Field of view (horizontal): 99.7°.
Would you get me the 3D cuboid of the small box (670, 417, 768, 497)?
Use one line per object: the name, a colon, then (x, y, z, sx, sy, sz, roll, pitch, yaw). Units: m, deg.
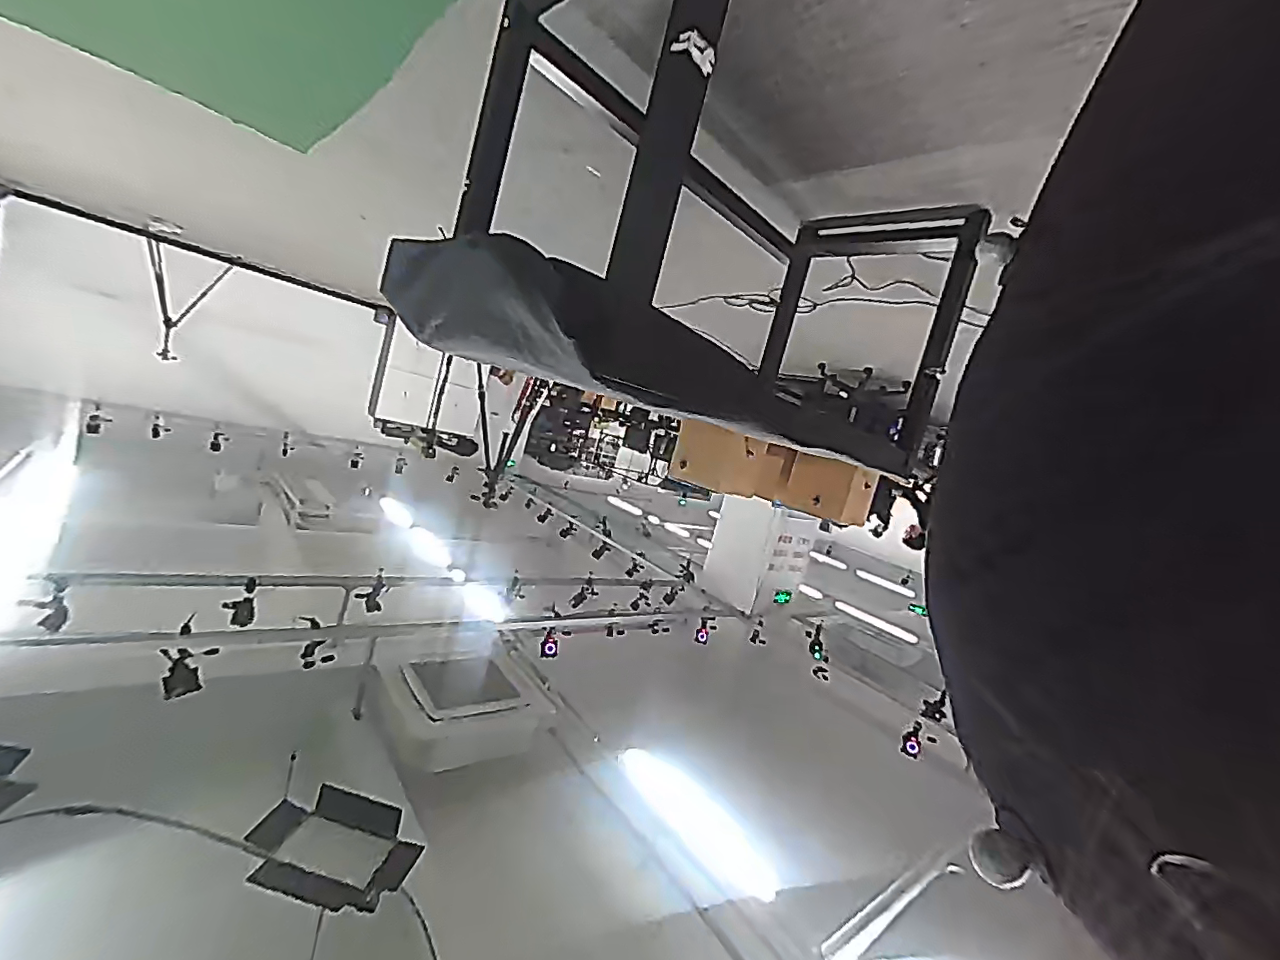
small box: (0.212, -0.064, 1.432, 0.168, 0.176, 0.179, 9, -172, -46)

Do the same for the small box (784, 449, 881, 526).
small box: (0.532, 0.016, 1.489, 0.168, 0.176, 0.179, 9, -173, -46)
